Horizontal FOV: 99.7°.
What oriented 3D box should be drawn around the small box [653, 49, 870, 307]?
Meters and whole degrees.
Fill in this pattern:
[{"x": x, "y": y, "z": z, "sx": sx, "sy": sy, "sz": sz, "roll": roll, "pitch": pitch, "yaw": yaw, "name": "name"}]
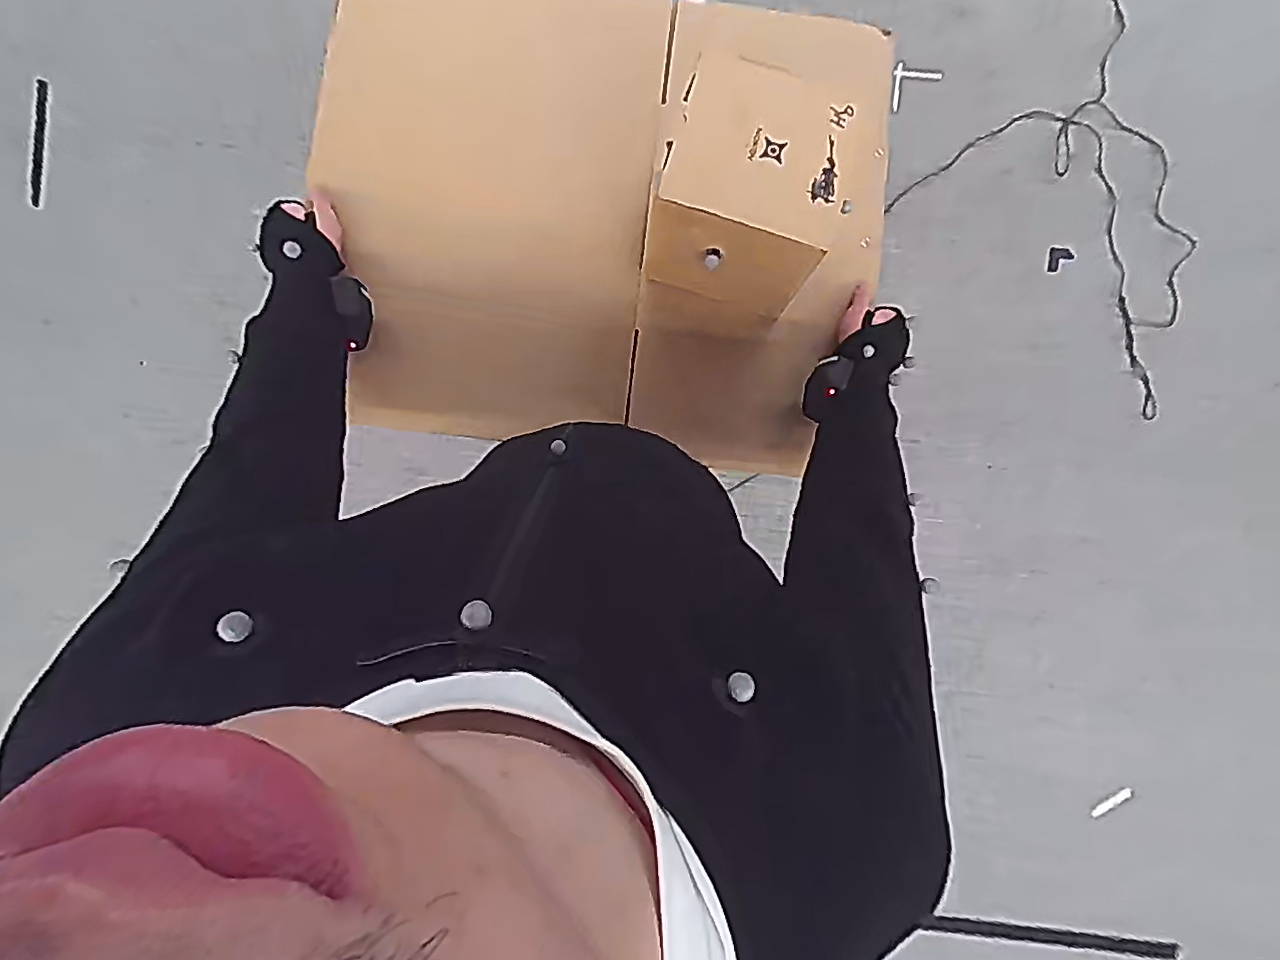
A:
[{"x": 0.119, "y": -0.317, "z": 0.605, "sx": 0.179, "sy": 0.176, "sz": 0.168, "roll": 17, "pitch": 85, "yaw": 0, "name": "small box"}]
